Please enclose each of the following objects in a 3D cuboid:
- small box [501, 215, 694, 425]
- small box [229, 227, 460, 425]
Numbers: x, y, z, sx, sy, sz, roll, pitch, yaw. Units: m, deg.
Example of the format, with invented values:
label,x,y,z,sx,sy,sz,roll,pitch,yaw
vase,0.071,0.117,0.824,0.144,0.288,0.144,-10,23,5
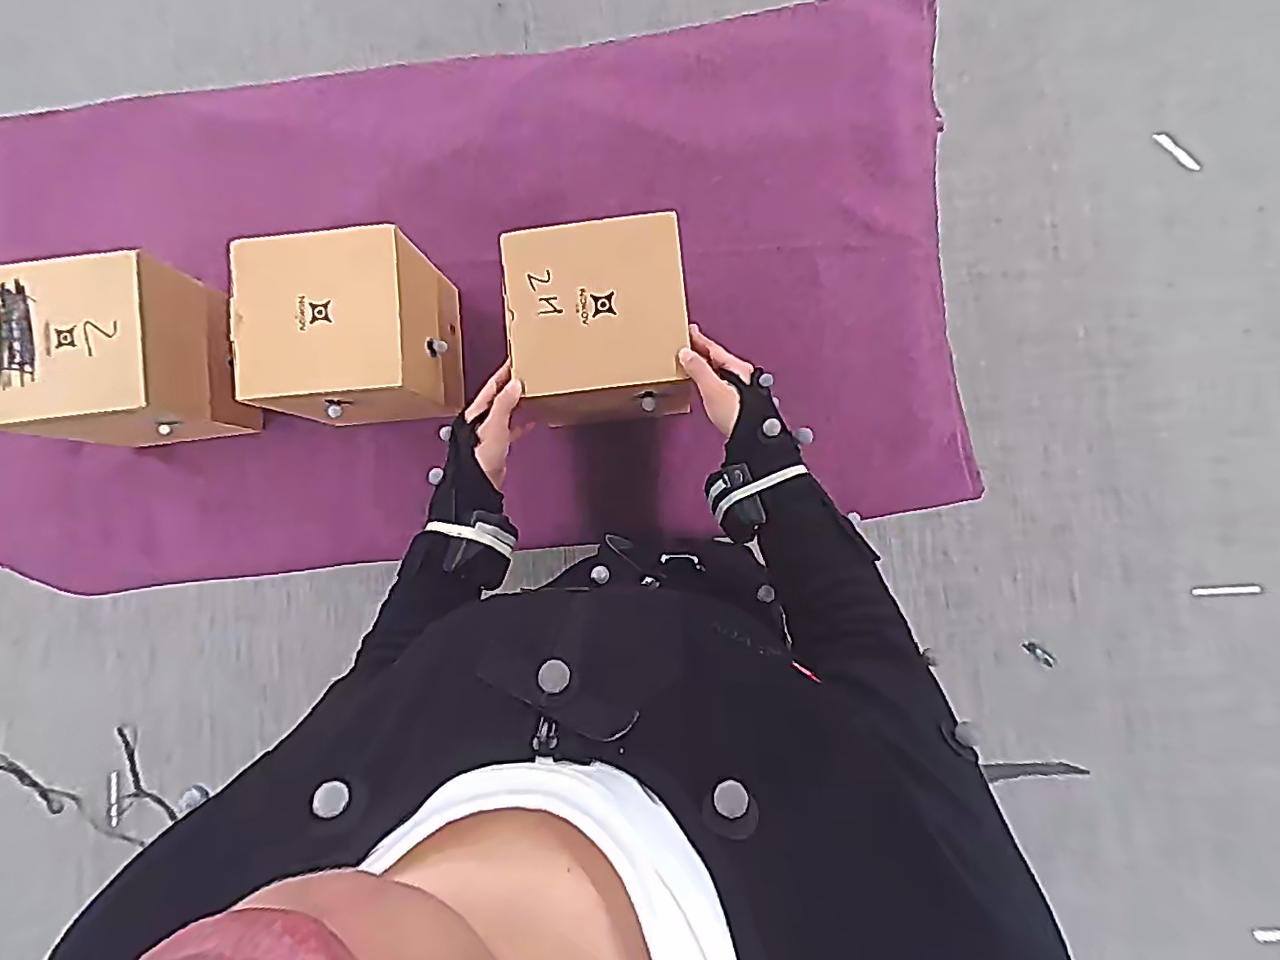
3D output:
label,x,y,z,sx,sy,sz,roll,pitch,yaw
small box,-0.038,-0.160,0.593,0.179,0.176,0.168,-6,85,4
small box,-0.316,-0.160,0.614,0.179,0.176,0.168,-5,87,4
